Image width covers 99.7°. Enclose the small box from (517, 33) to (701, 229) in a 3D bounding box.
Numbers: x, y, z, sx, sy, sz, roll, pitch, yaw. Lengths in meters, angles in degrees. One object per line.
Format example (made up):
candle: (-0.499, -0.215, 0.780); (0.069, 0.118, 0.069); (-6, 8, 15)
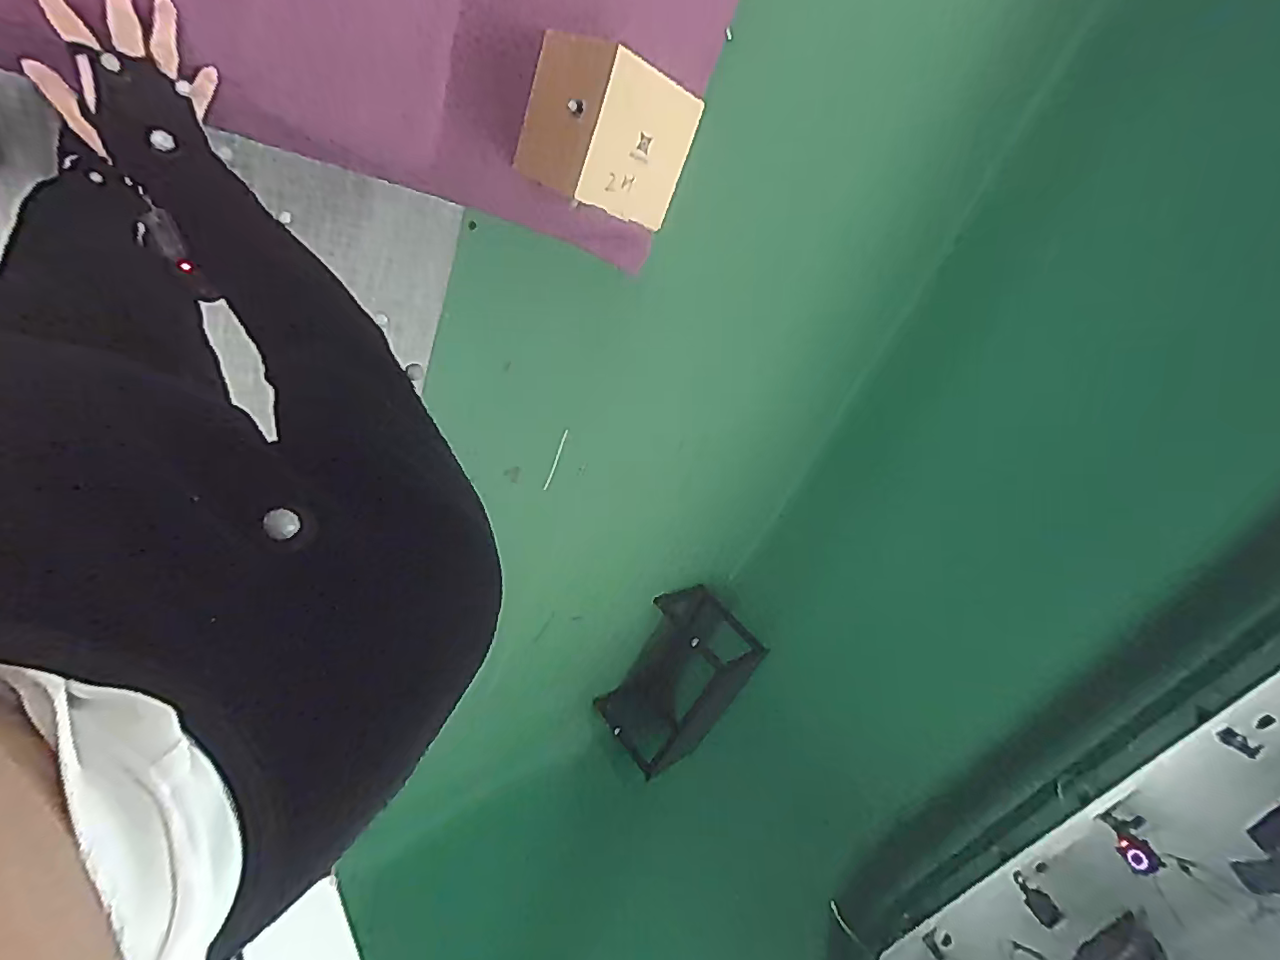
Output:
small box: (-0.052, -0.491, 0.769); (0.168, 0.176, 0.179); (-5, 129, -46)
